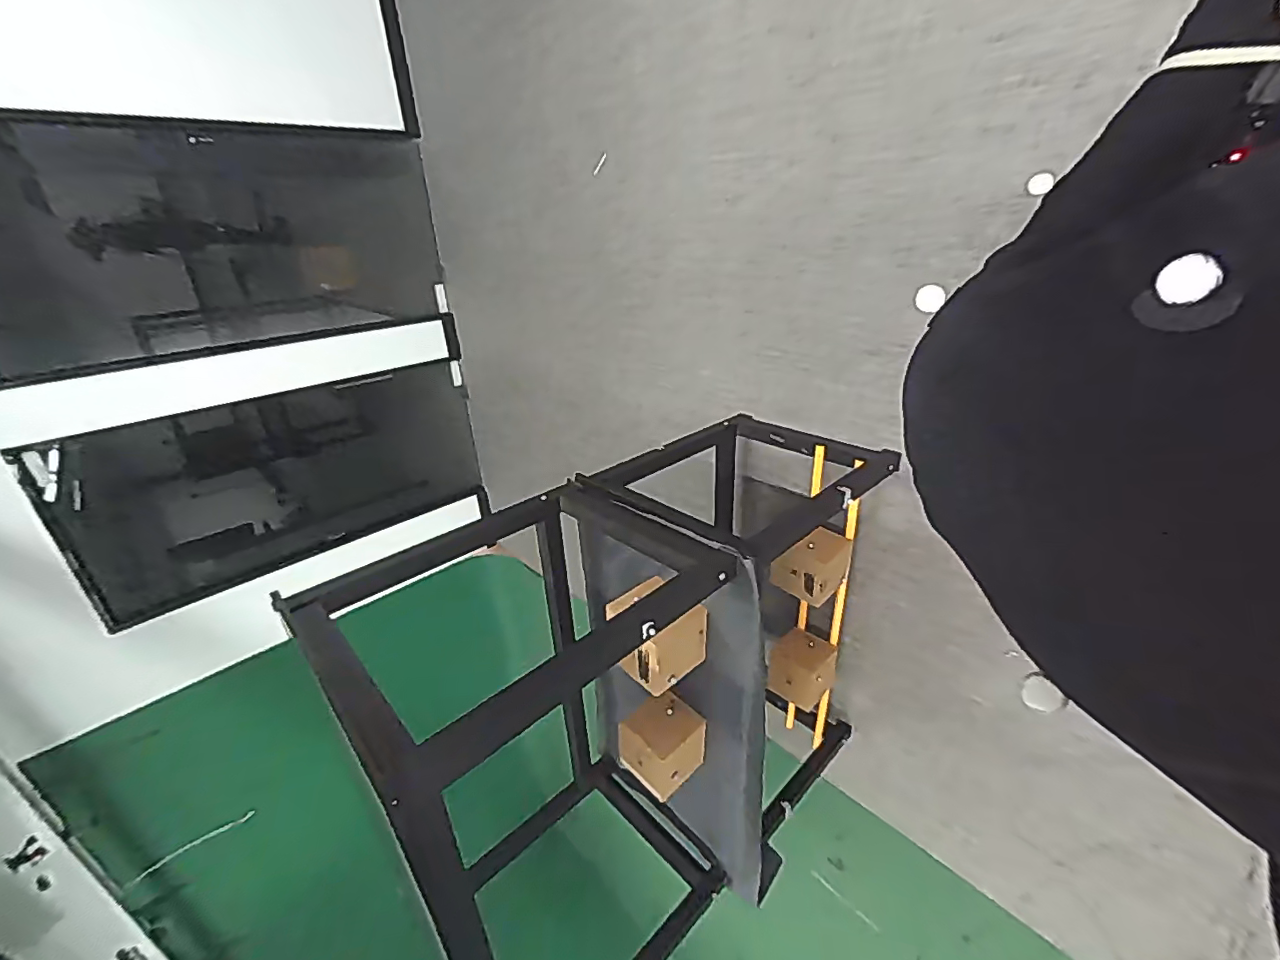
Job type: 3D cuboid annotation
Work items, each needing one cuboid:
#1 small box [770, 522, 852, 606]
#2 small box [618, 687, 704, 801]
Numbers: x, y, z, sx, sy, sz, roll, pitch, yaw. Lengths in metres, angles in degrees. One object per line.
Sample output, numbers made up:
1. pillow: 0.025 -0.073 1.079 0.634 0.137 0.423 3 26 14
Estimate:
1. small box: 0.528 0.251 1.671 0.179 0.176 0.168 26 128 40
2. small box: 0.057 0.701 1.452 0.168 0.176 0.179 26 128 40
